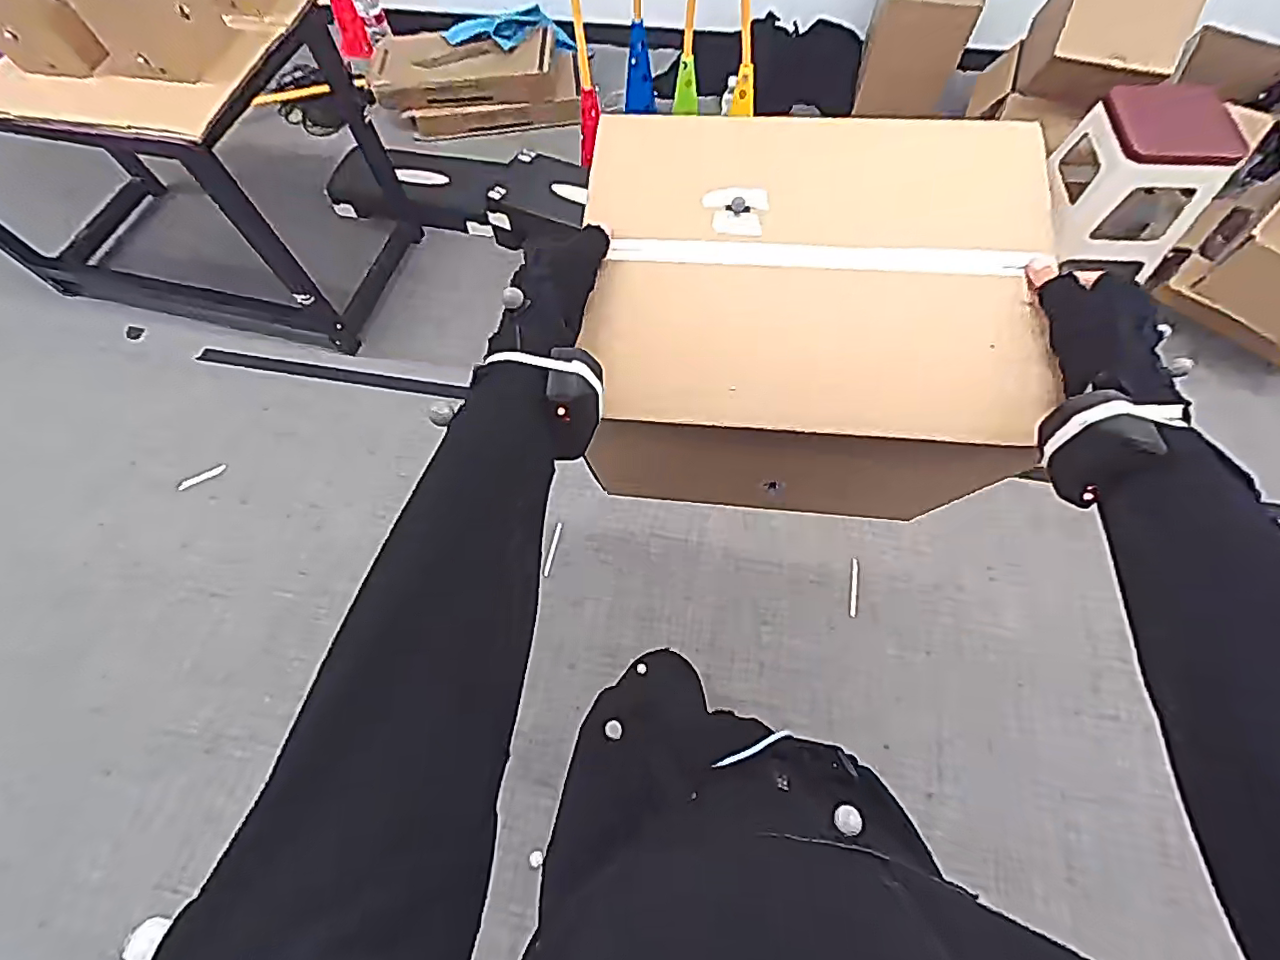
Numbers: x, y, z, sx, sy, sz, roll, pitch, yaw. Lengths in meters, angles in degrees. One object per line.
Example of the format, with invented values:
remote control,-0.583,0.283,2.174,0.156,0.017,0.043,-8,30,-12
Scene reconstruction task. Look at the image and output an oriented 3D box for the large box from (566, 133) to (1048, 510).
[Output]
large box,0.160,-0.152,0.632,0.408,0.320,0.320,5,75,7
